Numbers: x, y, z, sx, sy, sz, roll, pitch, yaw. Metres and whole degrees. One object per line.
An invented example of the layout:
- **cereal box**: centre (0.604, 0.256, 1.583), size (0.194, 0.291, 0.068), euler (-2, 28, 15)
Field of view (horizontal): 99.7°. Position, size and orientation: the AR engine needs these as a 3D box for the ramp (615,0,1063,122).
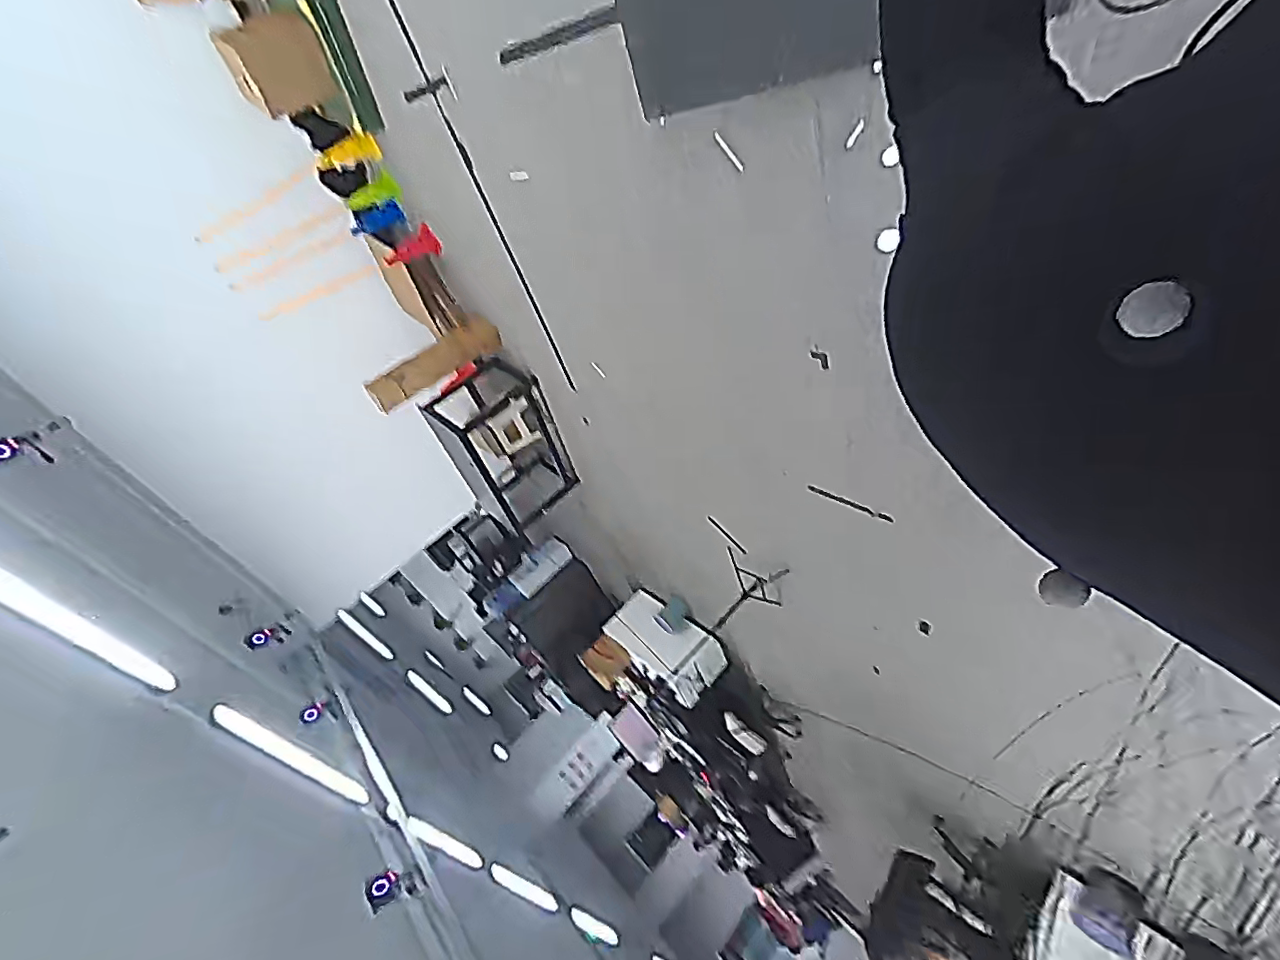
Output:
- **ramp**: centre (0.338, -1.152, 1.168), size (0.991, 0.206, 0.509), euler (23, 146, 44)
